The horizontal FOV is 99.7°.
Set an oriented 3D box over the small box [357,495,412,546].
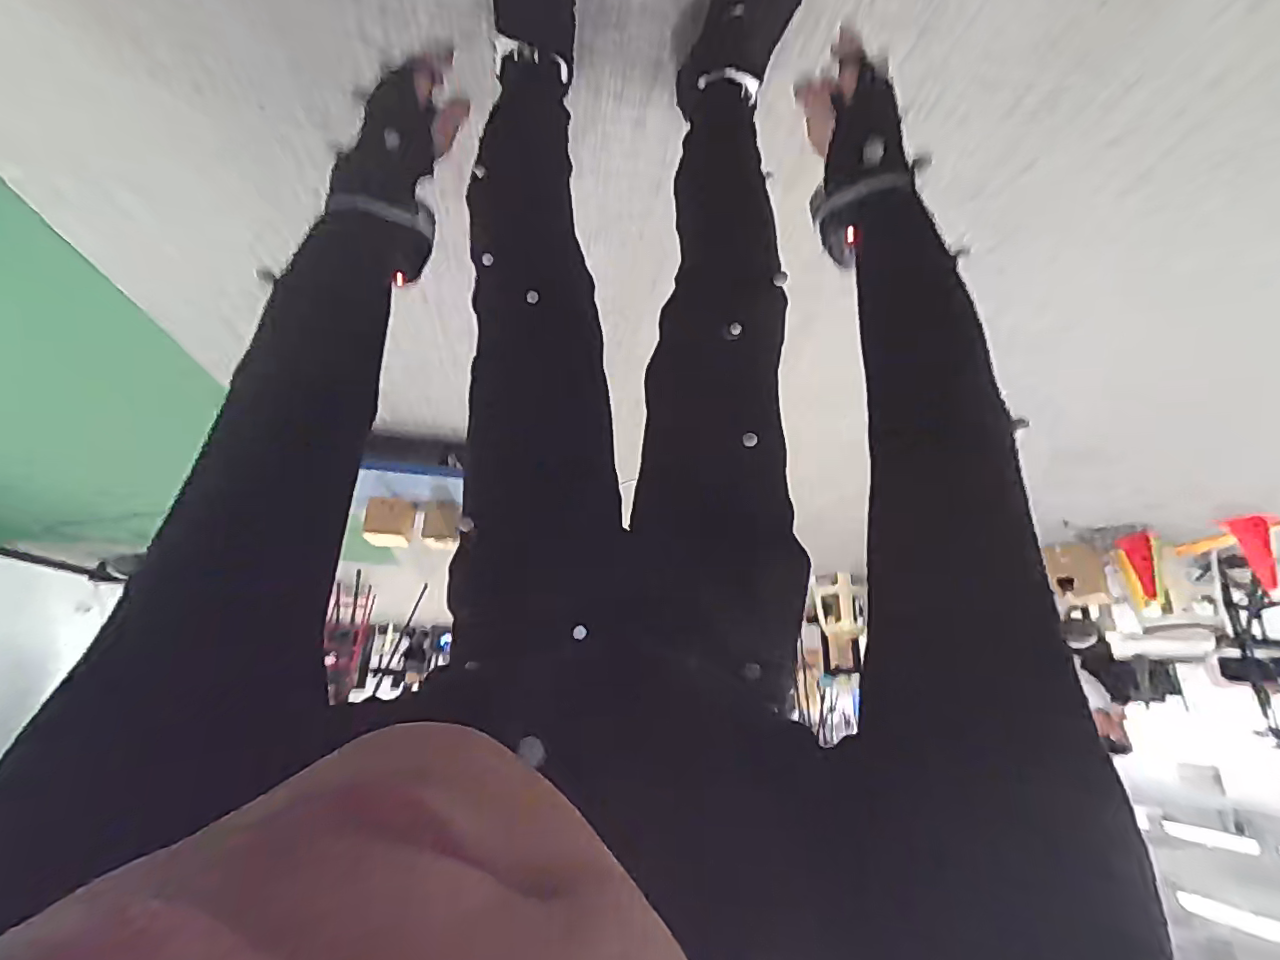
[{"bbox_3d":[-1.102,0.179,2.346,0.168,0.176,0.179,6,157,-10],"label":"small box"}]
